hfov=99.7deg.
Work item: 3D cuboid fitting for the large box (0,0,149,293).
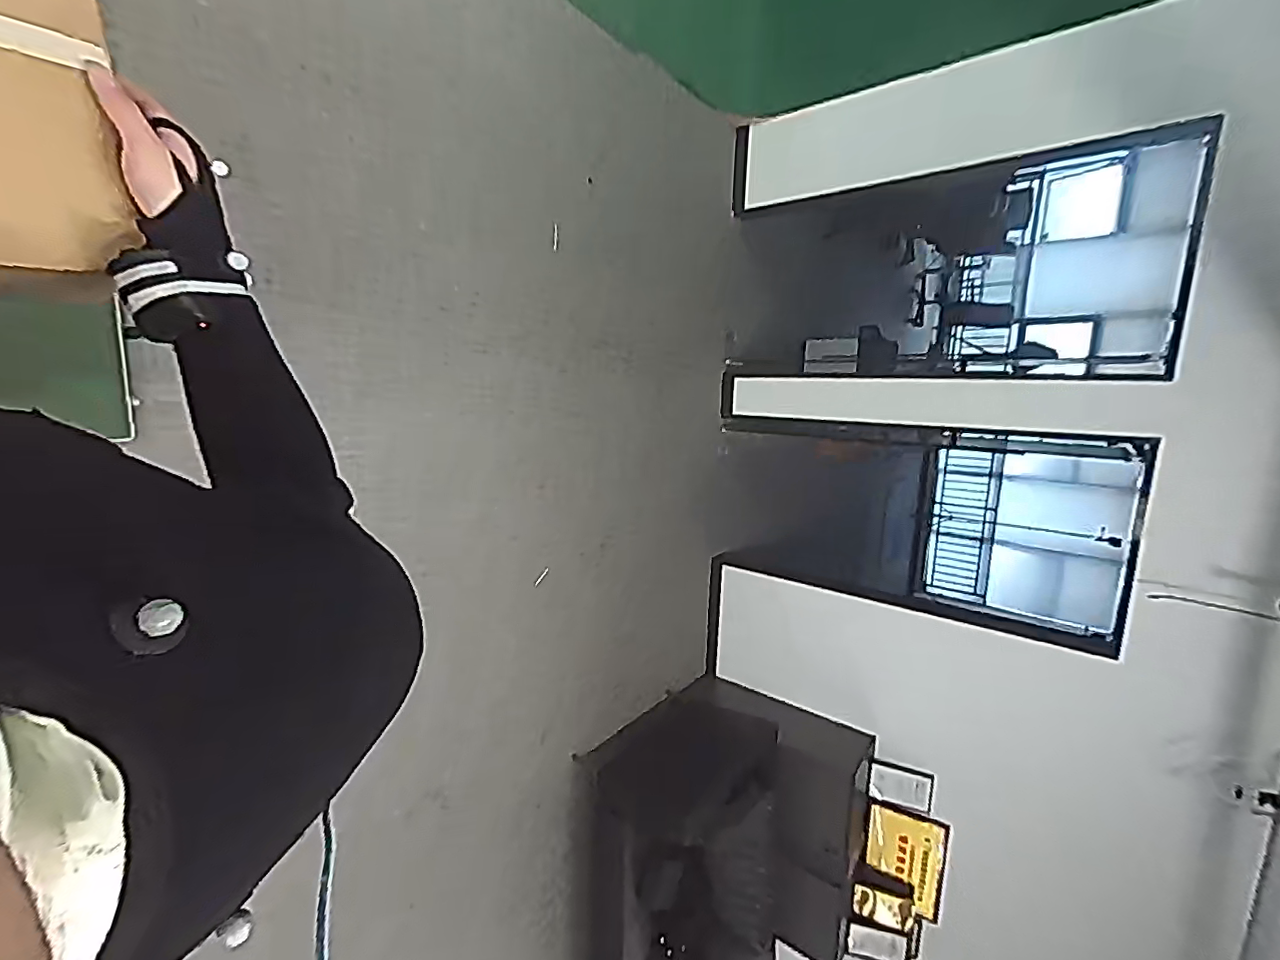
[{"bbox_3d":[-0.665,-0.316,0.375,0.408,0.320,0.320,-16,110,-49],"label":"large box"}]
